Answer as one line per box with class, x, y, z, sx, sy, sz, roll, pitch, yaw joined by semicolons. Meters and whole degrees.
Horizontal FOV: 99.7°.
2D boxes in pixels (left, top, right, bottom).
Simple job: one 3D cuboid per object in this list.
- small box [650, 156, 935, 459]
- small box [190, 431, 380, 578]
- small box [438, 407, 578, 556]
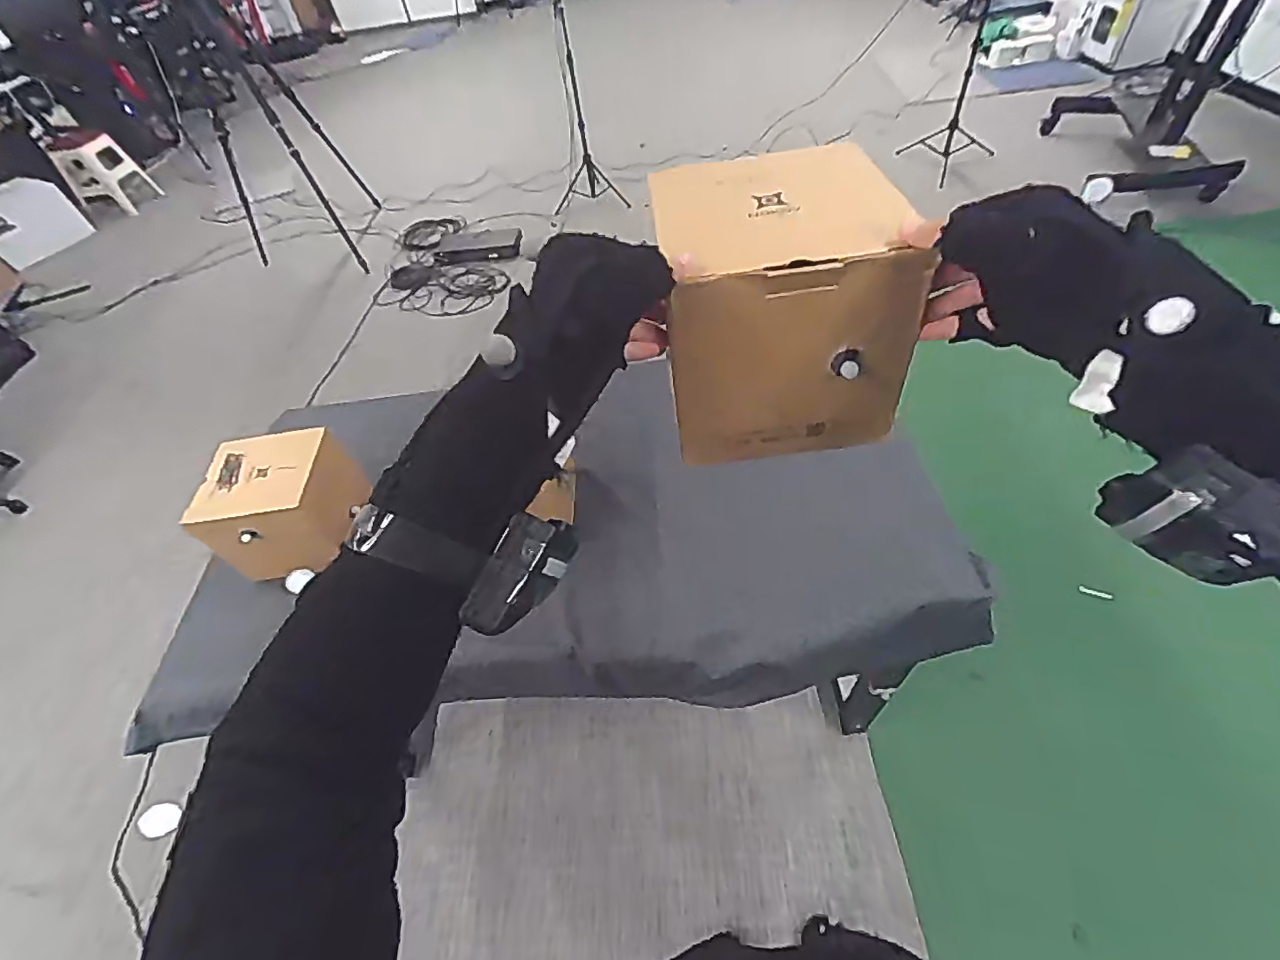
small box;0.102;-0.131;0.437;0.168;0.176;0.179;-7;47;3
small box;-0.565;0.045;0.889;0.179;0.176;0.168;-8;50;0
small box;-0.197;0.010;0.864;0.168;0.176;0.179;-6;51;4
